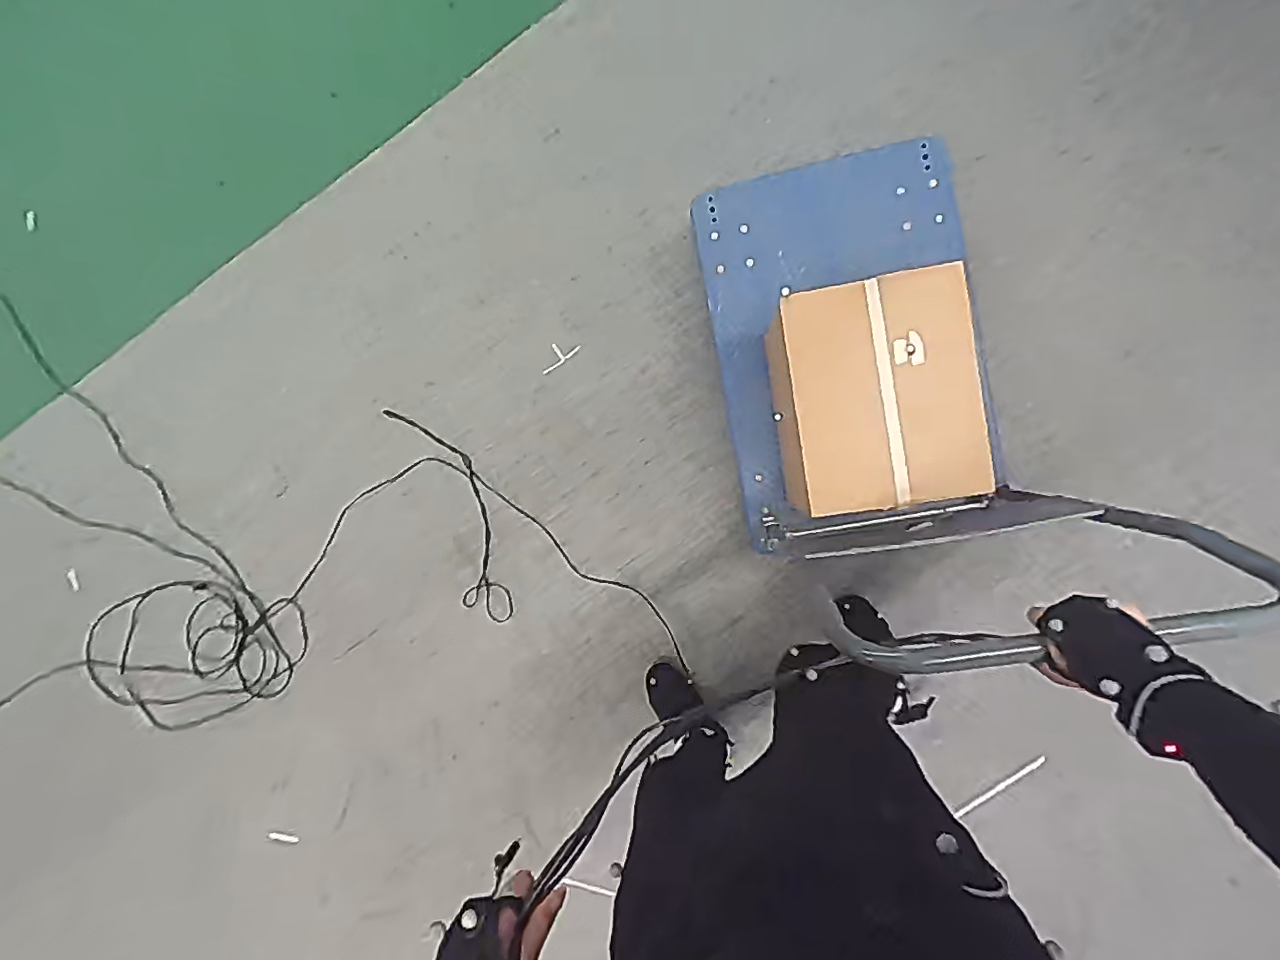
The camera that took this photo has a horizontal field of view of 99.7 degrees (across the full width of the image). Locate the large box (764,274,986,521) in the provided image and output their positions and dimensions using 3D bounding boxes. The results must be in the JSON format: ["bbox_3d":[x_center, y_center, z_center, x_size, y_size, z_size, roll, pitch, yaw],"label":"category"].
[{"bbox_3d":[0.443,-0.143,1.102,0.320,0.320,0.408,-7,90,7],"label":"large box"}]
